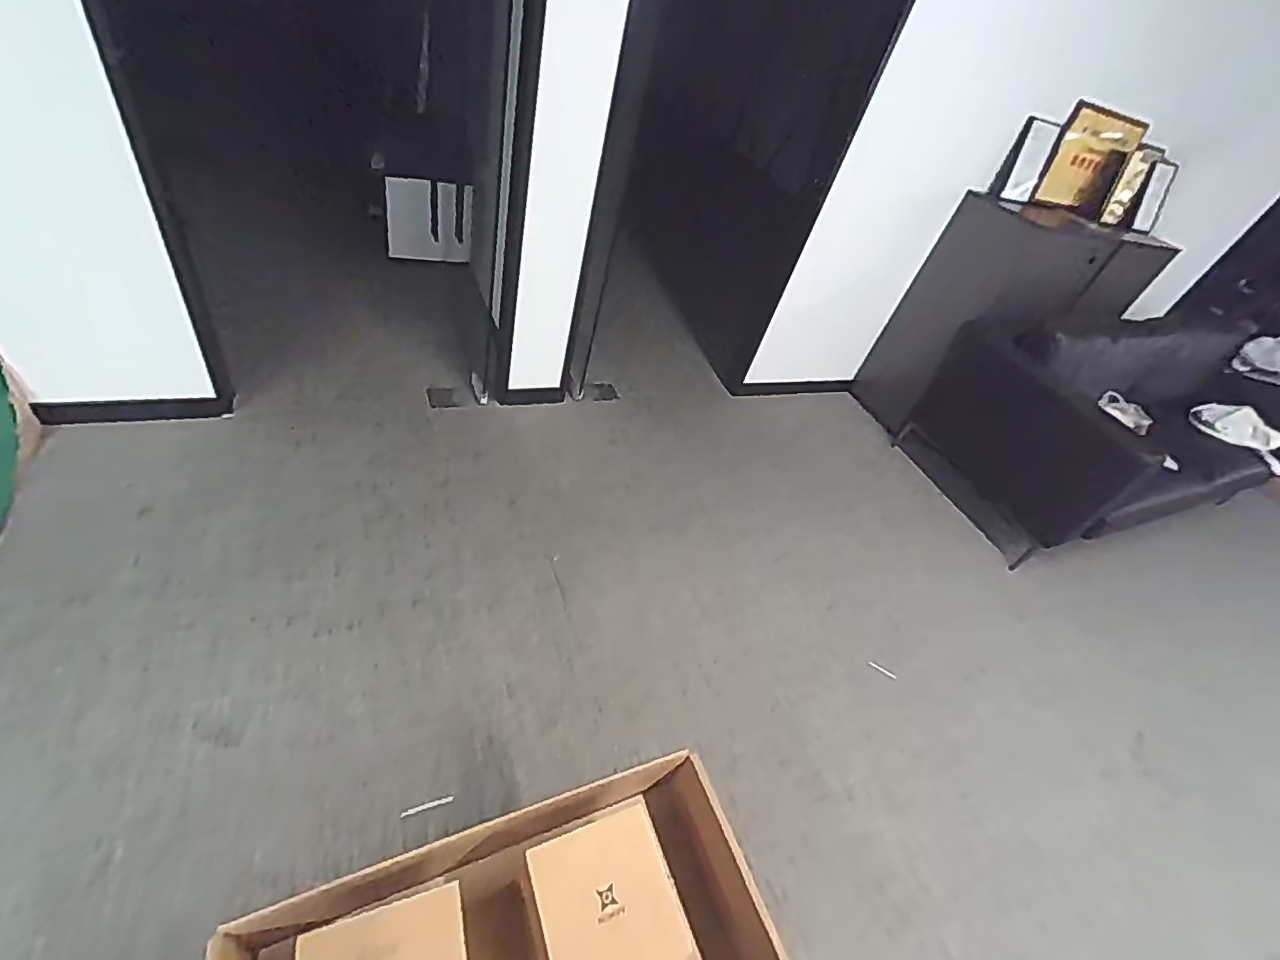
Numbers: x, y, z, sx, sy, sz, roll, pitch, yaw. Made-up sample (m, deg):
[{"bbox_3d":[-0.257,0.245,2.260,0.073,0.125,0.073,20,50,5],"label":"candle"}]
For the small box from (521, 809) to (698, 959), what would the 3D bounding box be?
[{"bbox_3d":[-0.053,0.576,0.710,0.168,0.176,0.179,-8,49,-25],"label":"small box"}]
